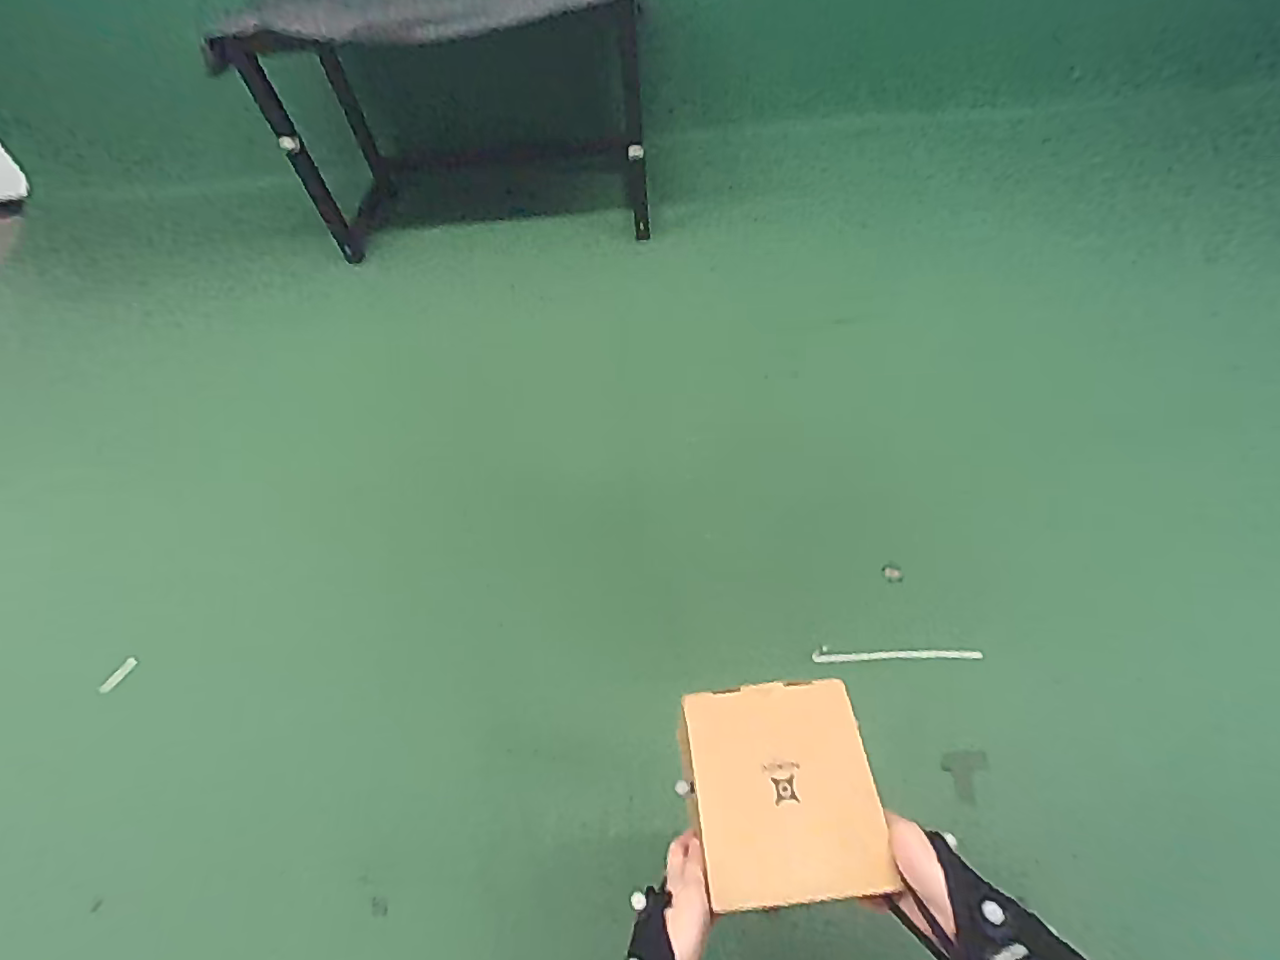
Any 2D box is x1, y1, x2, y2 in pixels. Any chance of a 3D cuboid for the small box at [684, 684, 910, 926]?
[{"bbox_3d":[0.136,0.324,0.547,0.168,0.176,0.179,-6,54,-1],"label":"small box"}]
